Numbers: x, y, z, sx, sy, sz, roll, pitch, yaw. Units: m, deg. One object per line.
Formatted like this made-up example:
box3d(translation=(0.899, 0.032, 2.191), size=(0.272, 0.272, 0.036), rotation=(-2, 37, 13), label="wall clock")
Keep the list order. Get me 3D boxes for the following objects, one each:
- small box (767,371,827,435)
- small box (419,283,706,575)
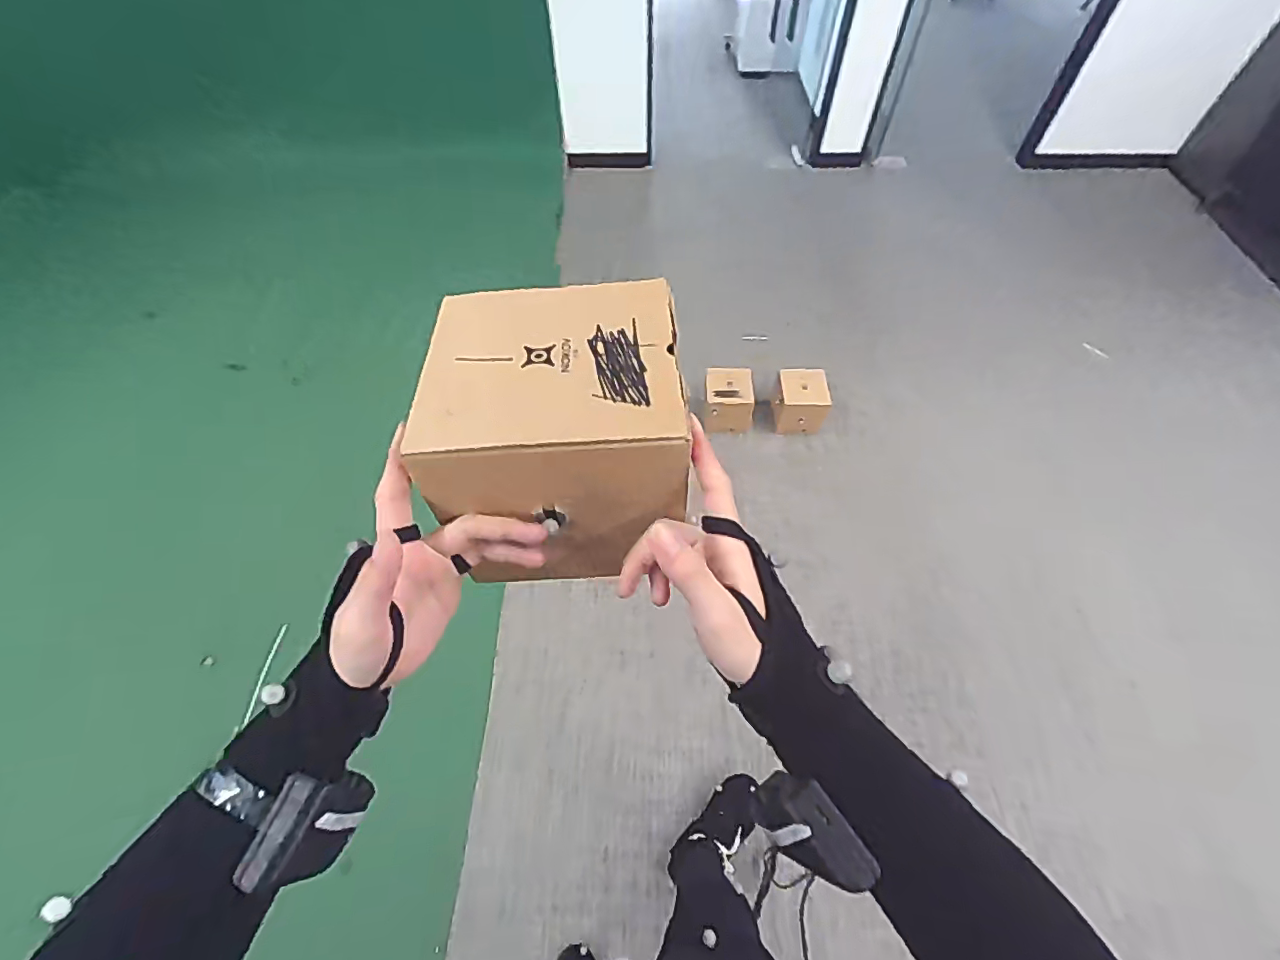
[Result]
box3d(translation=(0.577, -0.283, 2.004), size=(0.168, 0.176, 0.179), rotation=(1, 56, 0), label="small box")
box3d(translation=(-0.048, -0.035, 0.436), size=(0.179, 0.176, 0.168), rotation=(-3, 52, 0), label="small box")
